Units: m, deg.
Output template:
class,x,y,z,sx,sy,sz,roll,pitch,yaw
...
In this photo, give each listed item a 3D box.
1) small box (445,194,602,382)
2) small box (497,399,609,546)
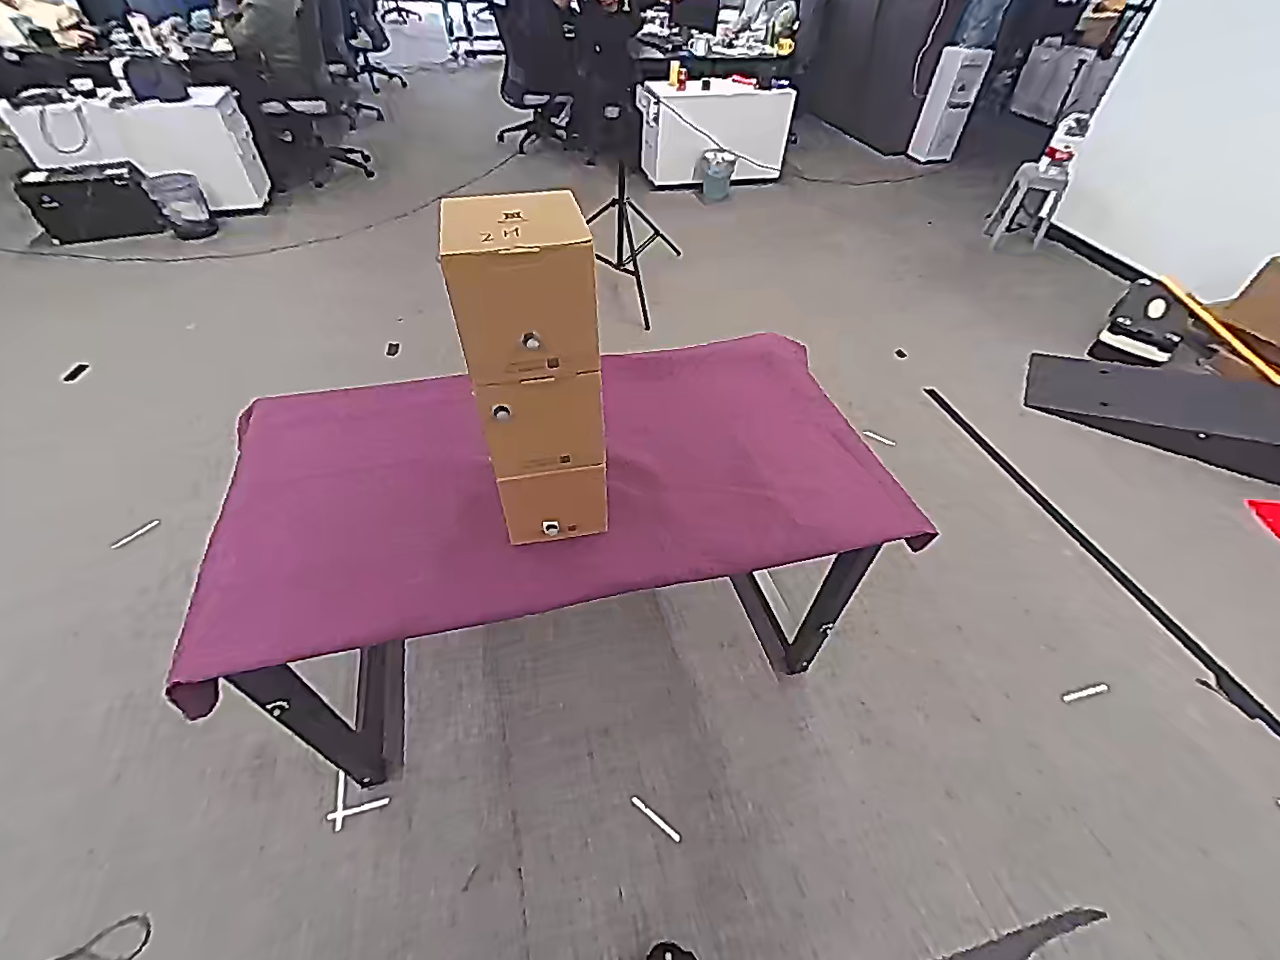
class,x,y,z,sx,sy,sz,roll,pitch,yaw
small box,-0.145,-0.248,0.695,0.168,0.176,0.179,-10,46,-10
small box,-0.149,-0.013,0.927,0.168,0.176,0.179,-9,48,-10
